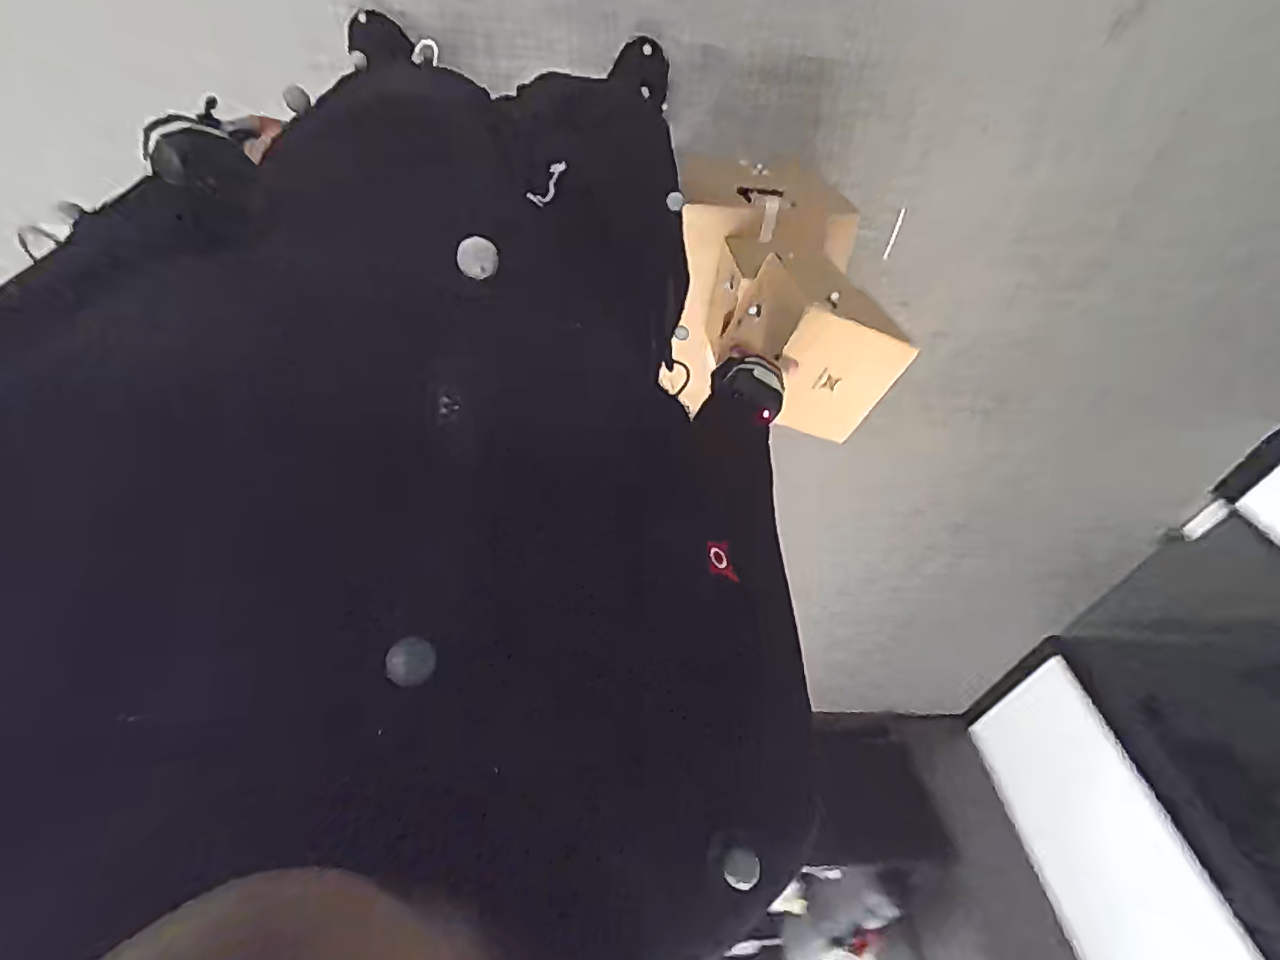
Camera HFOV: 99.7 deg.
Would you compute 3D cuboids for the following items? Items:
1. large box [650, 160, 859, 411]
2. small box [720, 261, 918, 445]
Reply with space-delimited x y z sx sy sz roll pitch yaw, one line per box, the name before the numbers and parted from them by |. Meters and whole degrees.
large box | 0.194 -0.396 1.120 0.320 0.320 0.408 2 134 -4
small box | 0.237 -0.180 0.762 0.179 0.176 0.168 14 130 -20
